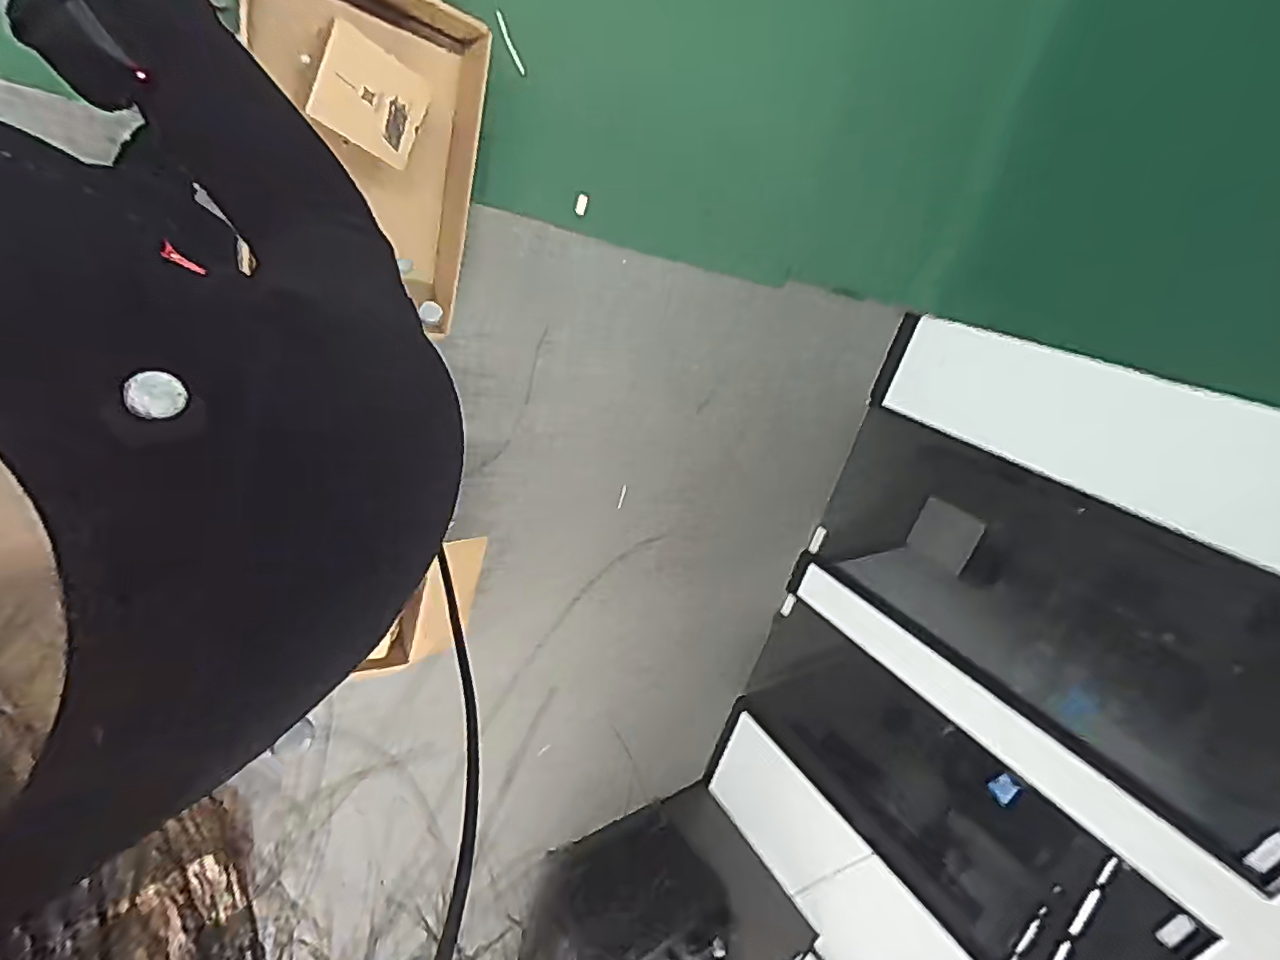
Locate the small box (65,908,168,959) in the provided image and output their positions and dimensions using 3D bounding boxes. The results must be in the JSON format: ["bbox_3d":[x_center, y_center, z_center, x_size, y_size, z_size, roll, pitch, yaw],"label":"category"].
[{"bbox_3d":[-1.320,1.220,1.352,0.168,0.176,0.179,24,99,-45],"label":"small box"}]

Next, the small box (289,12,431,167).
[{"bbox_3d":[-0.533,-0.733,1.024,0.179,0.176,0.168,16,108,-45],"label":"small box"}]
